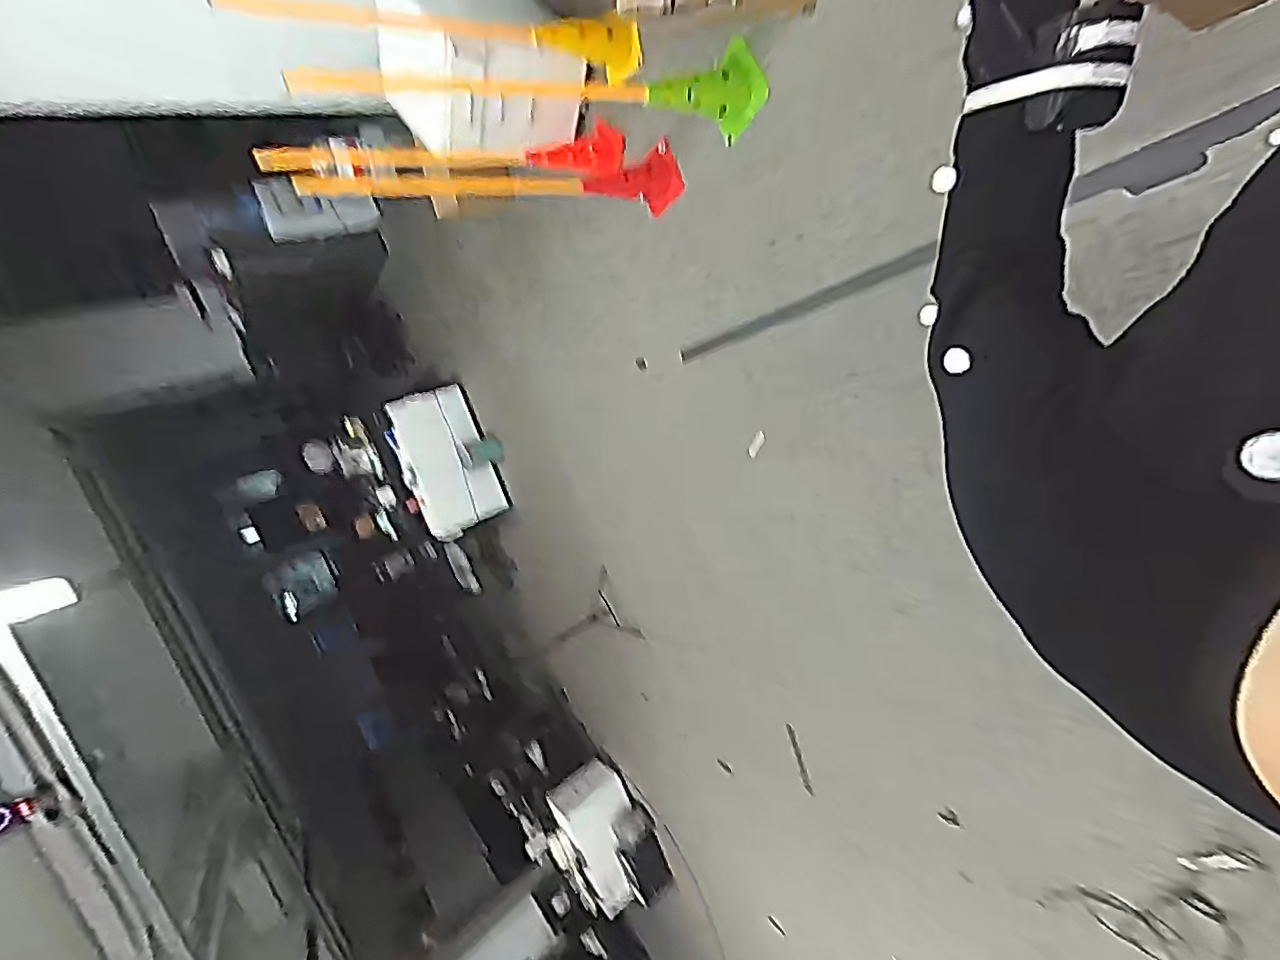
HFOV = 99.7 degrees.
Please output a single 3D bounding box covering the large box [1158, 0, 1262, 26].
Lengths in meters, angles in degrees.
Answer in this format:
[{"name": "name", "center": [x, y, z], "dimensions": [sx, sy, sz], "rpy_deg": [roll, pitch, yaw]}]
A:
[{"name": "large box", "center": [0.475, -0.508, 0.229], "dimensions": [0.408, 0.320, 0.320], "rpy_deg": [3, 112, 54]}]
